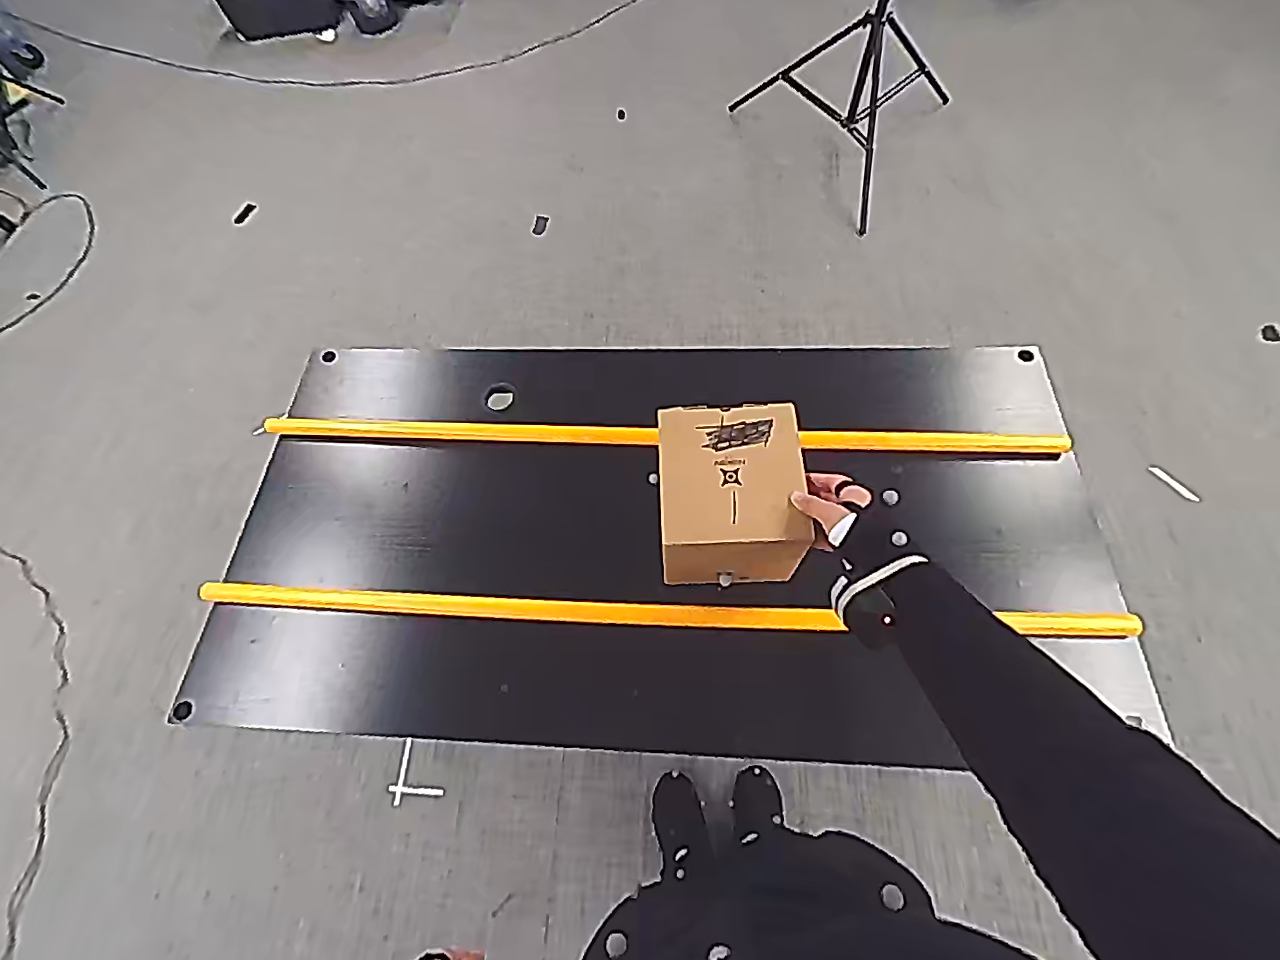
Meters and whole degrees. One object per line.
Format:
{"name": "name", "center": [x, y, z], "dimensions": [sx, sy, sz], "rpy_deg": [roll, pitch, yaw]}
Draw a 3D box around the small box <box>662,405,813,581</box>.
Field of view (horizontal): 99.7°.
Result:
{"name": "small box", "center": [0.111, 0.023, 0.696], "dimensions": [0.168, 0.176, 0.179], "rpy_deg": [-2, 65, 4]}
